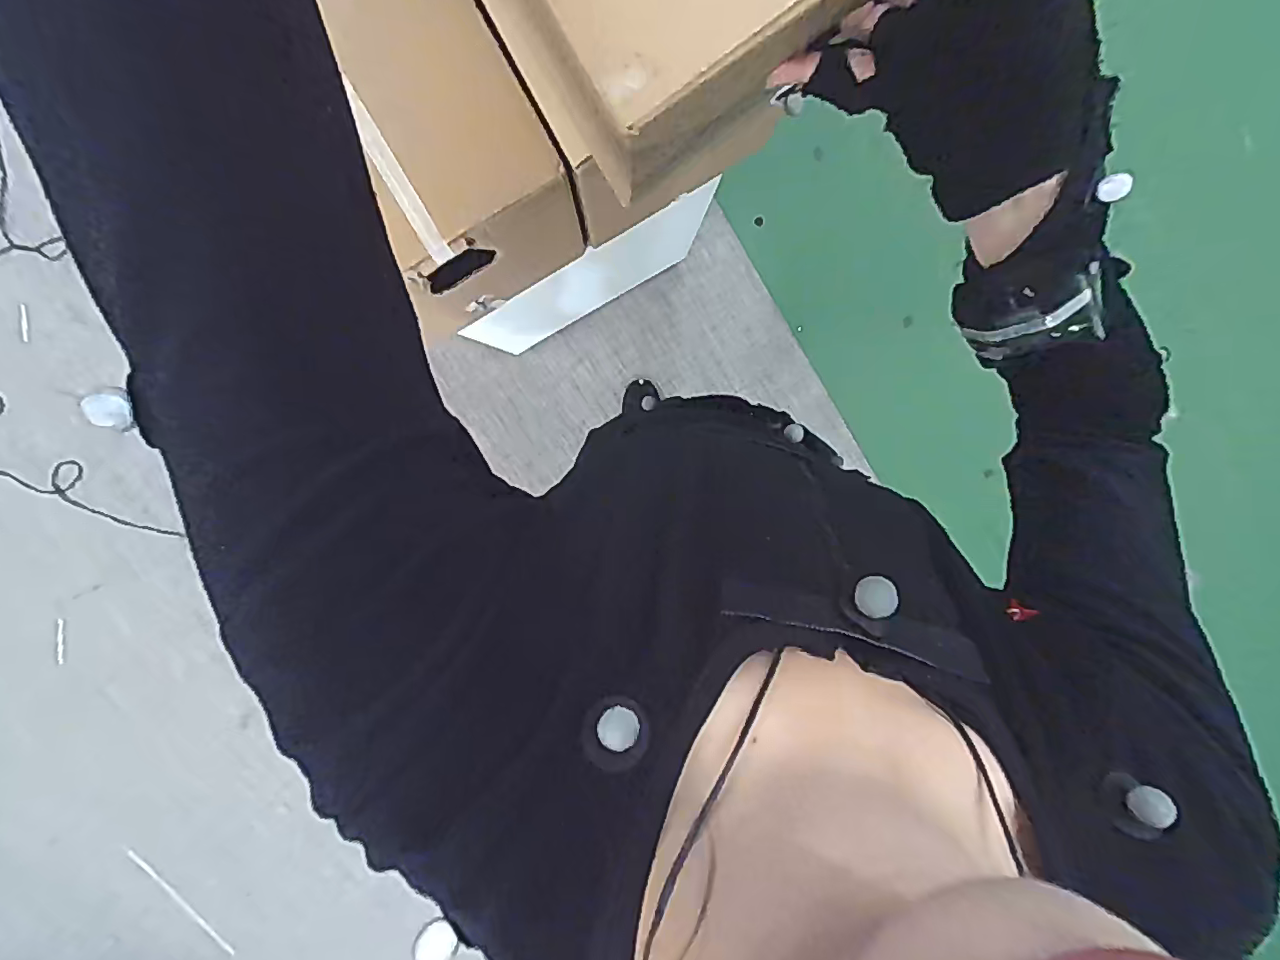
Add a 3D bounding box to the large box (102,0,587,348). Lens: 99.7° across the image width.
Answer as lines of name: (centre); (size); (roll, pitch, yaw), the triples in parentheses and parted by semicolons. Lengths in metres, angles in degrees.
large box: (-0.310, -0.429, 0.682); (0.320, 0.320, 0.408); (-30, 97, 3)
